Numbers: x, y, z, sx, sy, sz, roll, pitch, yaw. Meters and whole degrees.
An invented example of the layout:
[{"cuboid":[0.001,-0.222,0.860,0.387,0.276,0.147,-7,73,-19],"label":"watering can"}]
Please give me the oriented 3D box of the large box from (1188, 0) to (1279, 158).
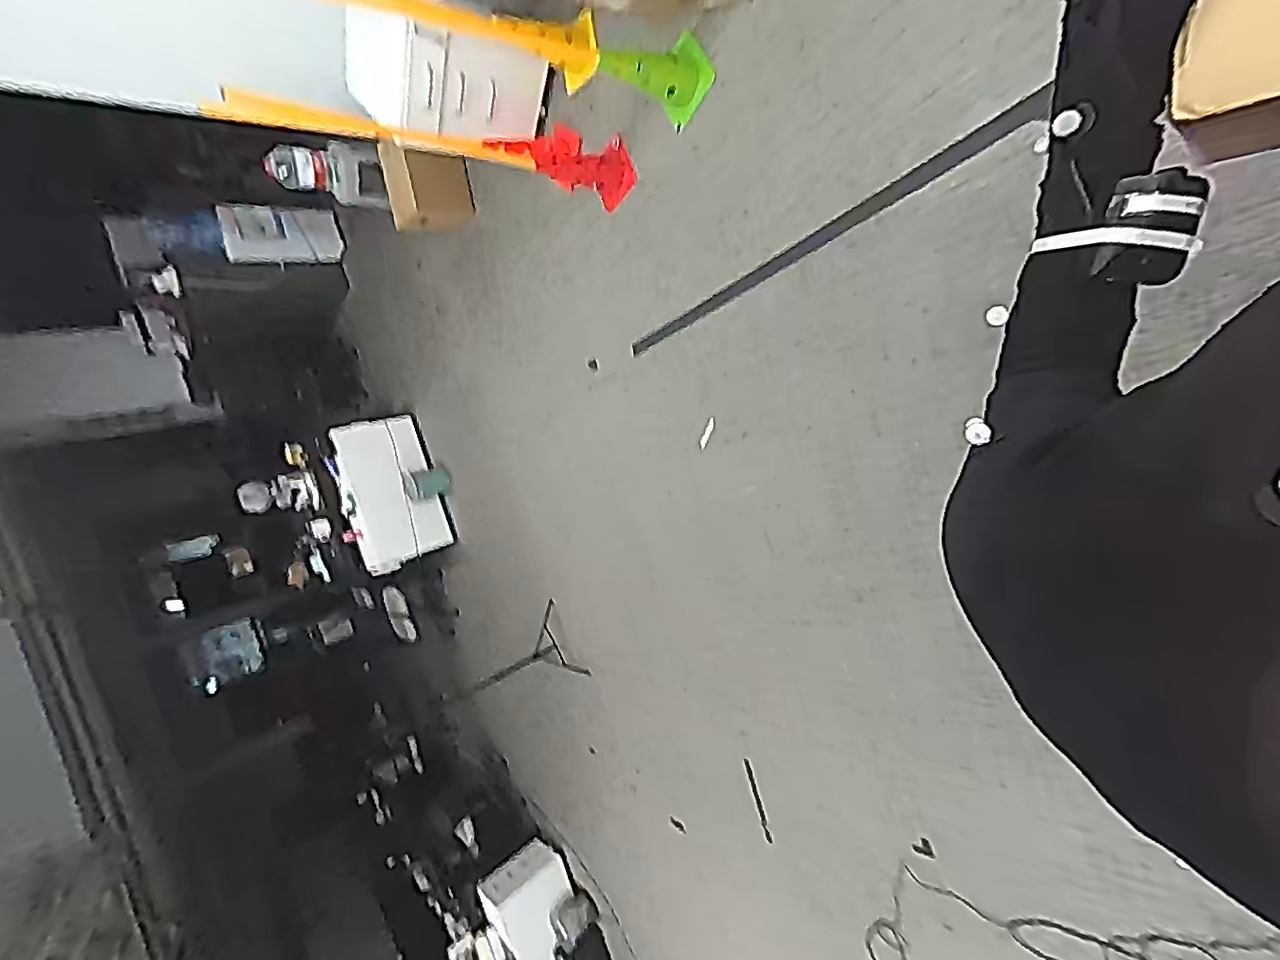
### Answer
[{"cuboid":[0.568,-0.411,0.267,0.408,0.320,0.320,7,112,47],"label":"large box"}]
